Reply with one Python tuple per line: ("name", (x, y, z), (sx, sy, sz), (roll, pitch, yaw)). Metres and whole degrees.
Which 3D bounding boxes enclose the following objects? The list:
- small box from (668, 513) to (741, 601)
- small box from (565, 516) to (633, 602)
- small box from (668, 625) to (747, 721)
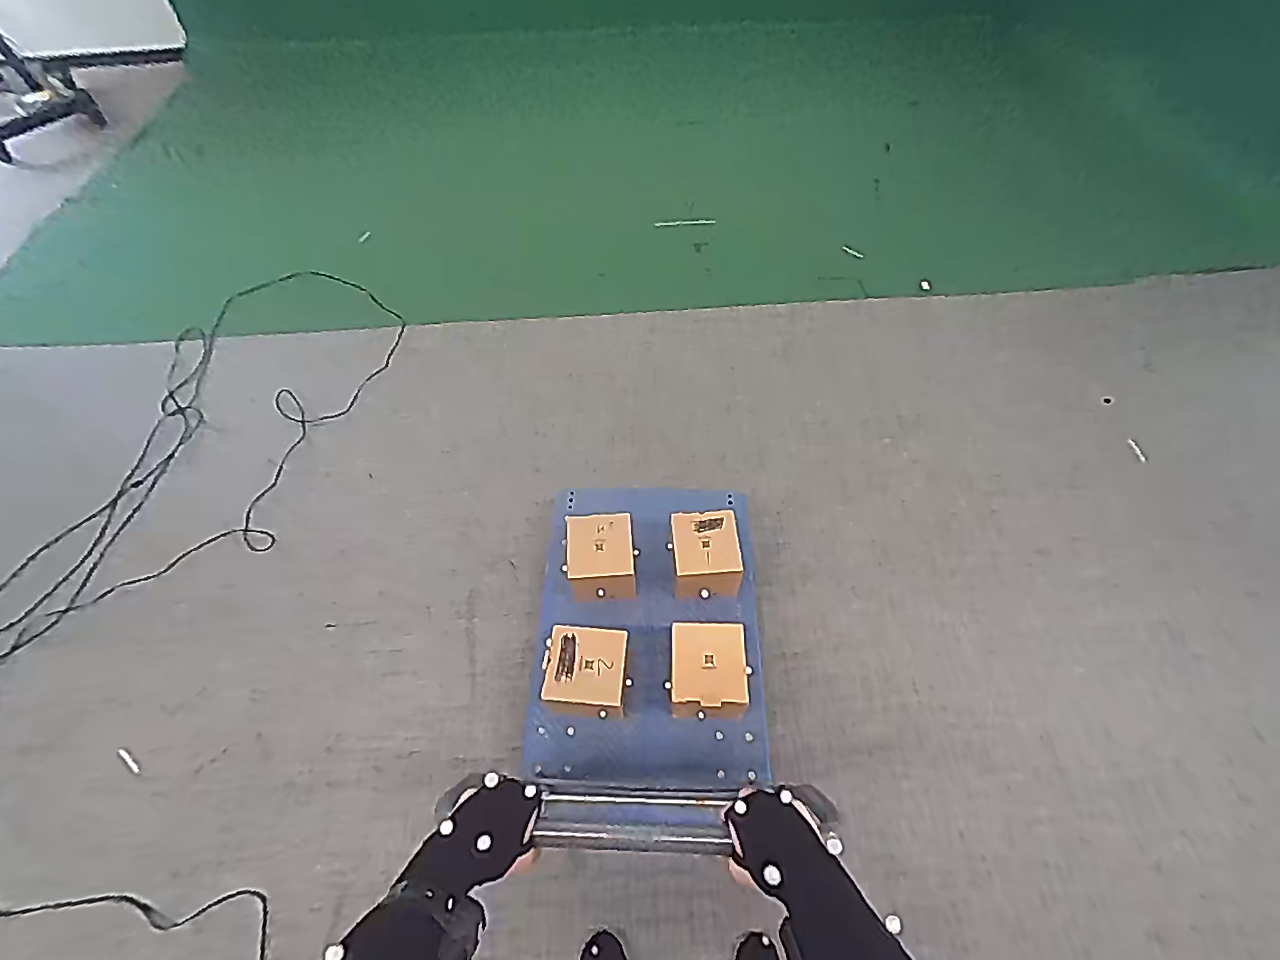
("small box", (0.164, 0.207, 1.432), (0.168, 0.176, 0.179), (-3, 57, -1))
("small box", (-0.105, 0.215, 1.431), (0.168, 0.176, 0.179), (-3, 57, -2))
("small box", (0.152, 0.455, 1.271), (0.168, 0.176, 0.179), (1, 57, 1))
